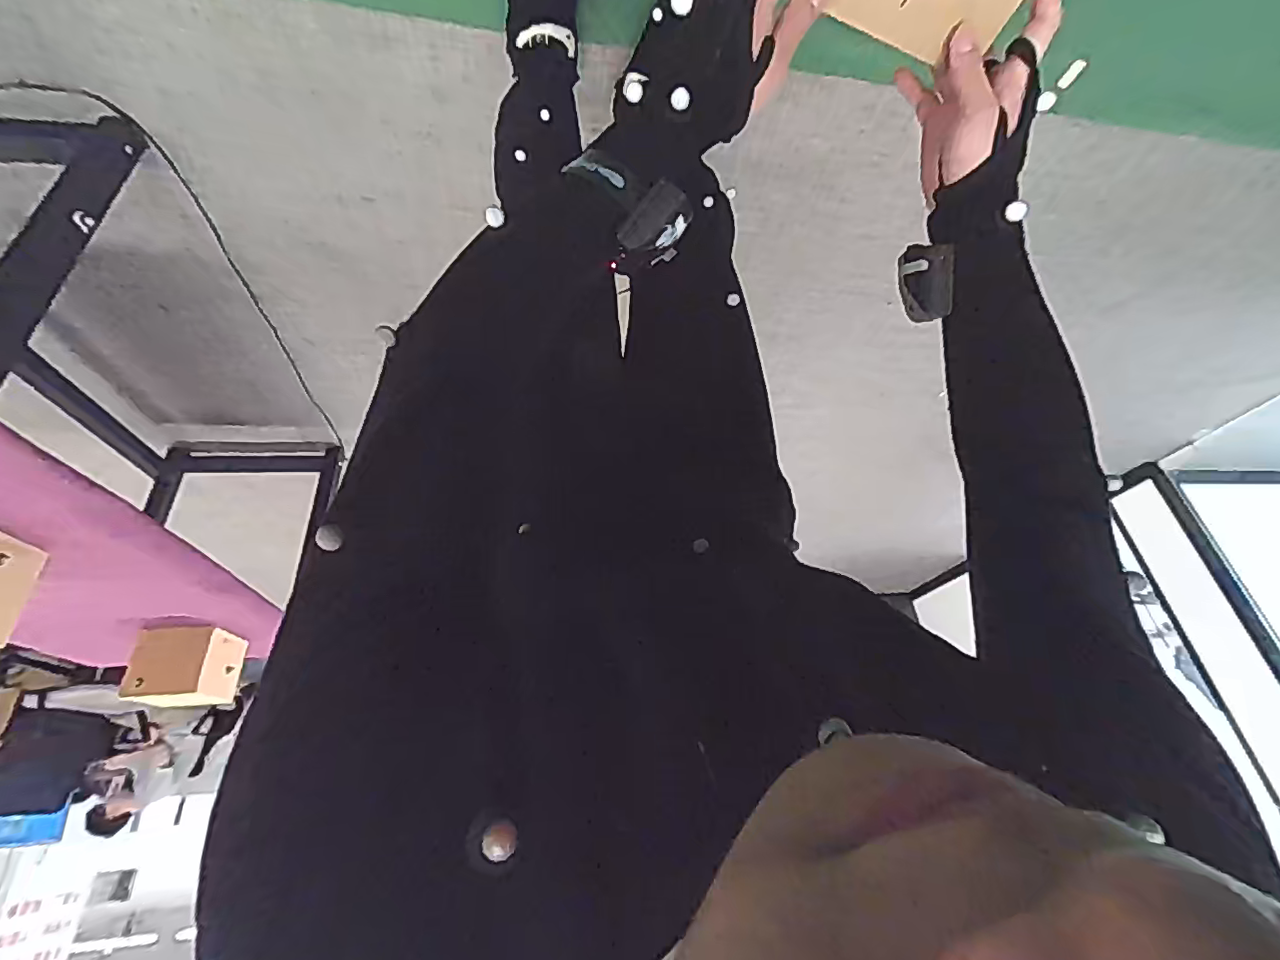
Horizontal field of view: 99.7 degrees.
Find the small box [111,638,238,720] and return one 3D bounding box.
[{"bbox_3d":[-1.159,0.503,1.368,0.179,0.176,0.168,0,149,-8],"label":"small box"}]

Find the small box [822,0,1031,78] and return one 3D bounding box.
[{"bbox_3d":[0.211,-0.444,0.385,0.168,0.176,0.179,7,143,-20],"label":"small box"}]
